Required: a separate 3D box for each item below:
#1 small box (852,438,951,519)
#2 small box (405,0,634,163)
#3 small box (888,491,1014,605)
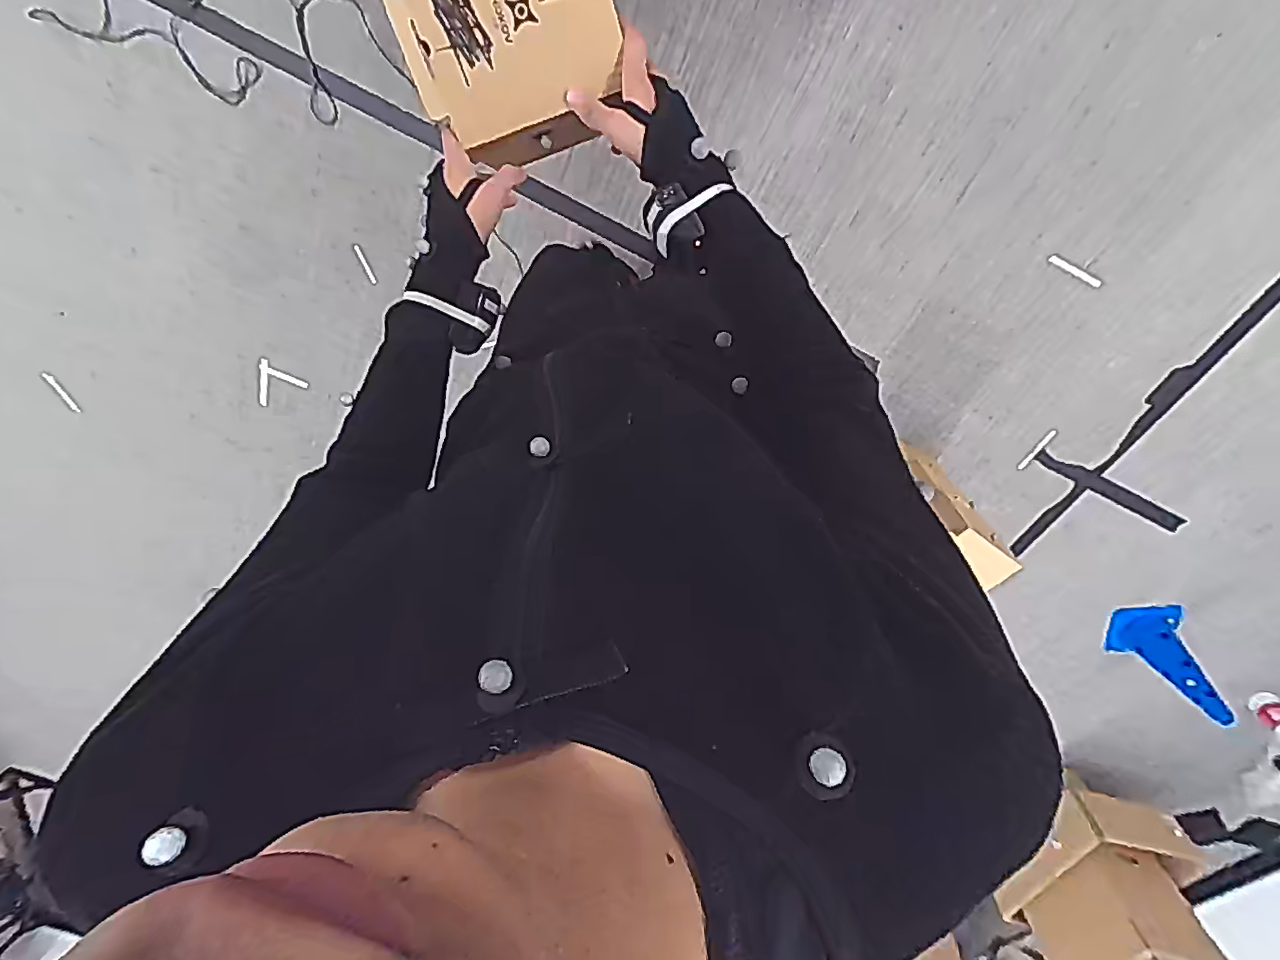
[{"bbox_3d":[0.754,-0.002,1.583,0.179,0.176,0.168,28,119,-9],"label":"small box"},{"bbox_3d":[-0.109,-0.439,0.538,0.179,0.176,0.168,-17,113,6],"label":"small box"},{"bbox_3d":[0.733,0.157,1.294,0.179,0.176,0.168,34,119,-12],"label":"small box"}]
